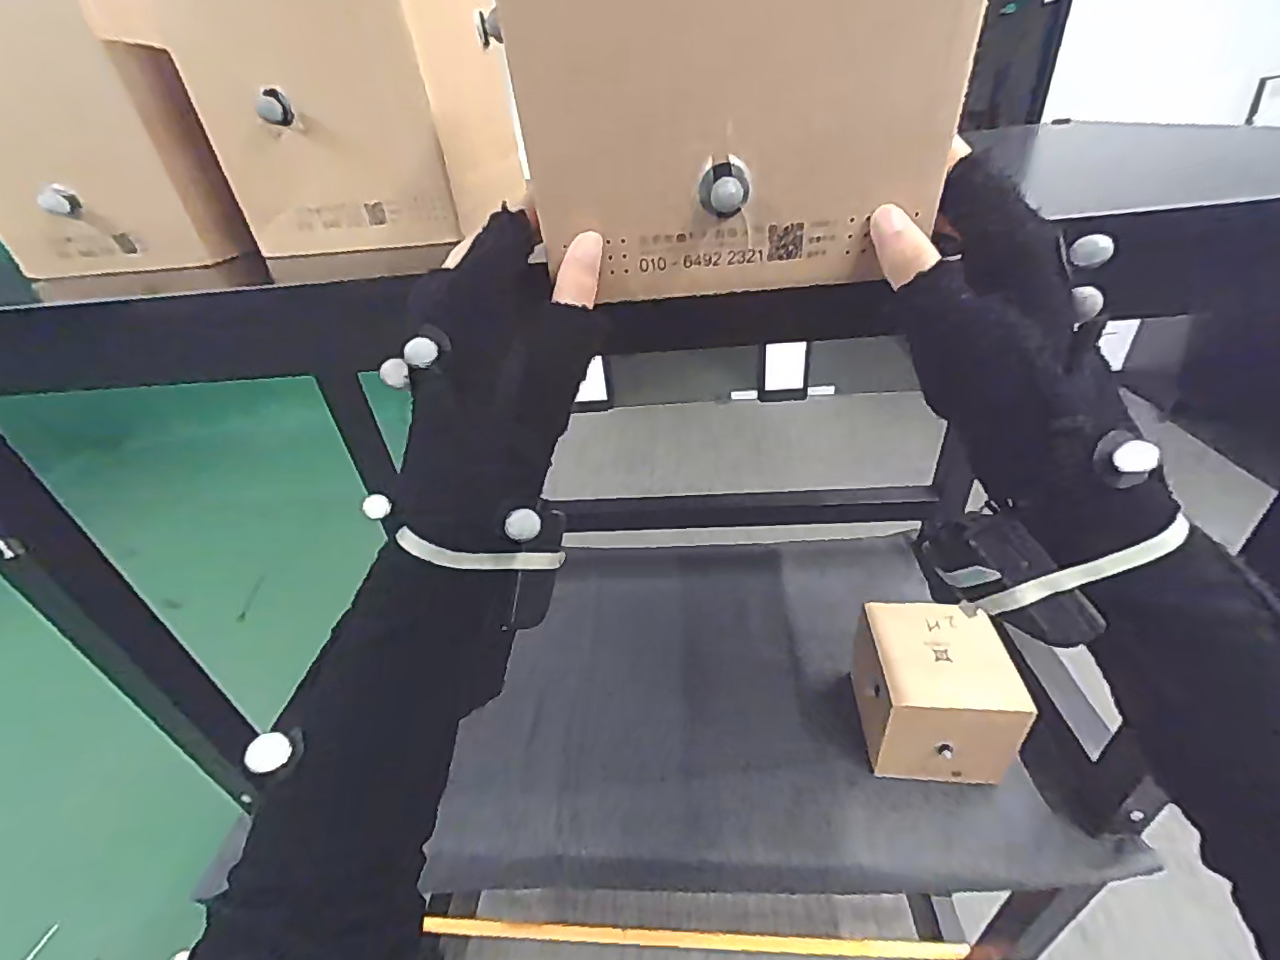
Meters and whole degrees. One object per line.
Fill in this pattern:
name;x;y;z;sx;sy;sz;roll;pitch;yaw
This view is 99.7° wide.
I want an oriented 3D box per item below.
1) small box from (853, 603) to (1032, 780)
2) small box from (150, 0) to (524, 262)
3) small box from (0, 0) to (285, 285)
small box;0.412;0.299;0.772;0.168;0.176;0.179;0;33;9
small box;-0.205;-0.278;0.432;0.168;0.176;0.179;-1;33;8
small box;-0.401;-0.270;0.450;0.168;0.176;0.179;-2;35;7
